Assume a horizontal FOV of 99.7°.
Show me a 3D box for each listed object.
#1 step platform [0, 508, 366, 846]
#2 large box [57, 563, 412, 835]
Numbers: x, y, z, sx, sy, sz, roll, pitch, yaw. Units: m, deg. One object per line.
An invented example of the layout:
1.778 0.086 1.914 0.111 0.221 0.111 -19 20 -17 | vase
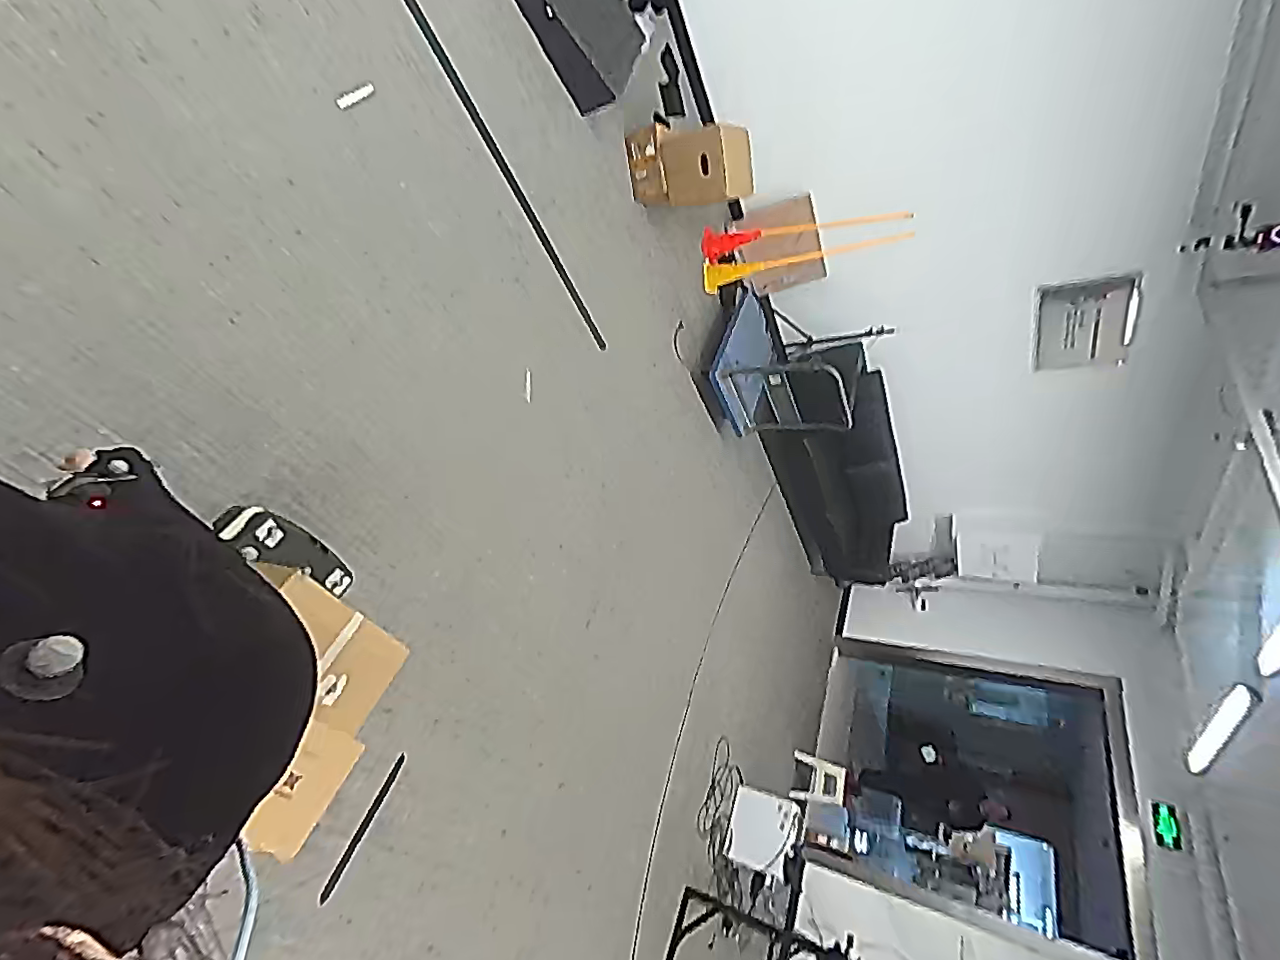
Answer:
-0.944 0.379 1.173 0.684 0.204 0.286 -60 136 -39 | step platform
-0.745 0.416 1.041 0.320 0.320 0.408 59 43 -38 | large box
